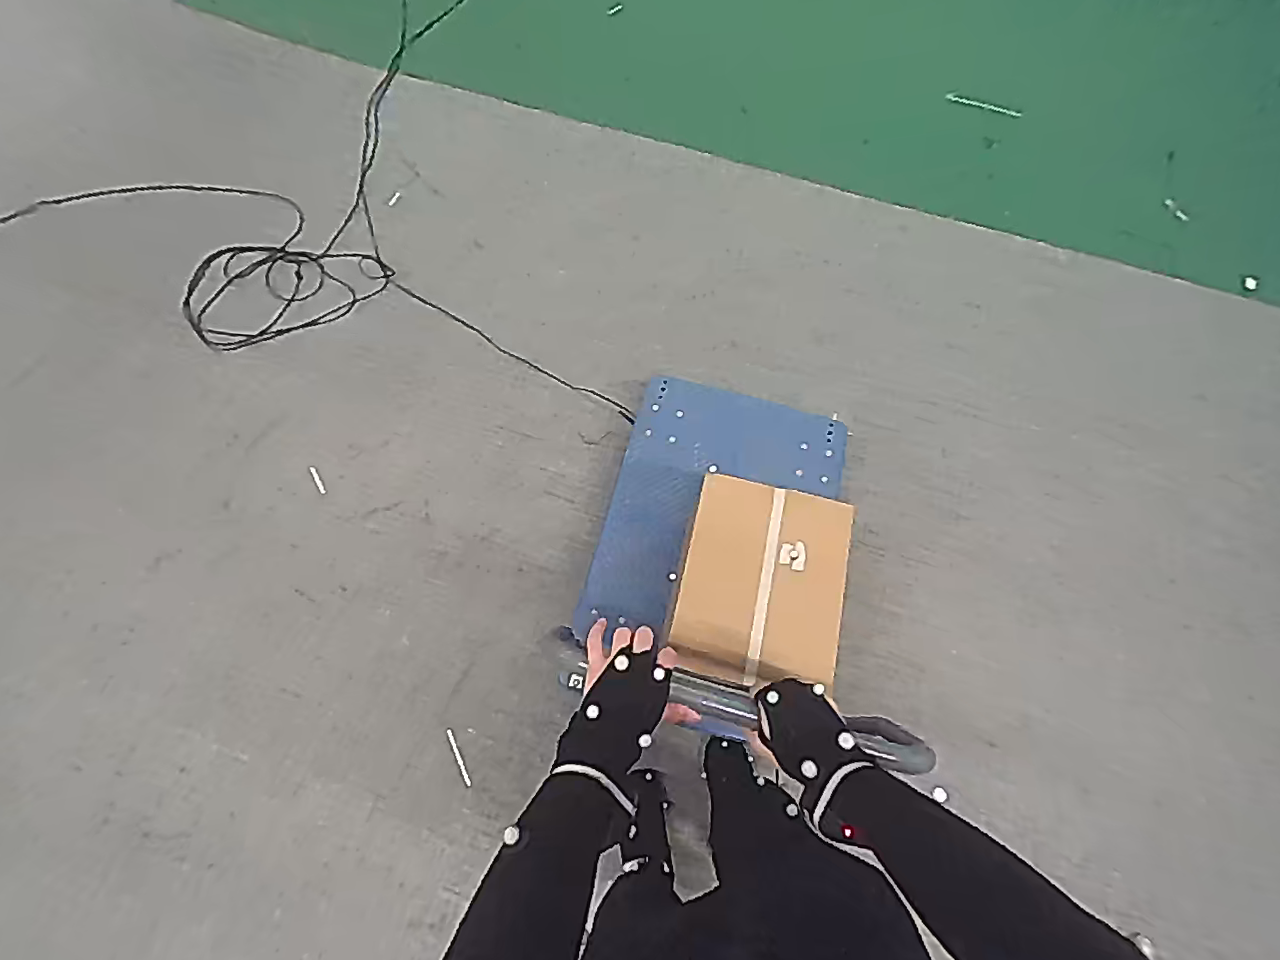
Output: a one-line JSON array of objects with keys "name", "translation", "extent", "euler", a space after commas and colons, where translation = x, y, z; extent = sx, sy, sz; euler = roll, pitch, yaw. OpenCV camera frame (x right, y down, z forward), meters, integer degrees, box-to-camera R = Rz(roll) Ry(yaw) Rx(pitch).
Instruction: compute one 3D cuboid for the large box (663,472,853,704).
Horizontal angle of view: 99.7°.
[{"name": "large box", "translation": [0.244, 0.249, 1.191], "extent": [0.320, 0.320, 0.408], "euler": [14, 69, 3]}]
